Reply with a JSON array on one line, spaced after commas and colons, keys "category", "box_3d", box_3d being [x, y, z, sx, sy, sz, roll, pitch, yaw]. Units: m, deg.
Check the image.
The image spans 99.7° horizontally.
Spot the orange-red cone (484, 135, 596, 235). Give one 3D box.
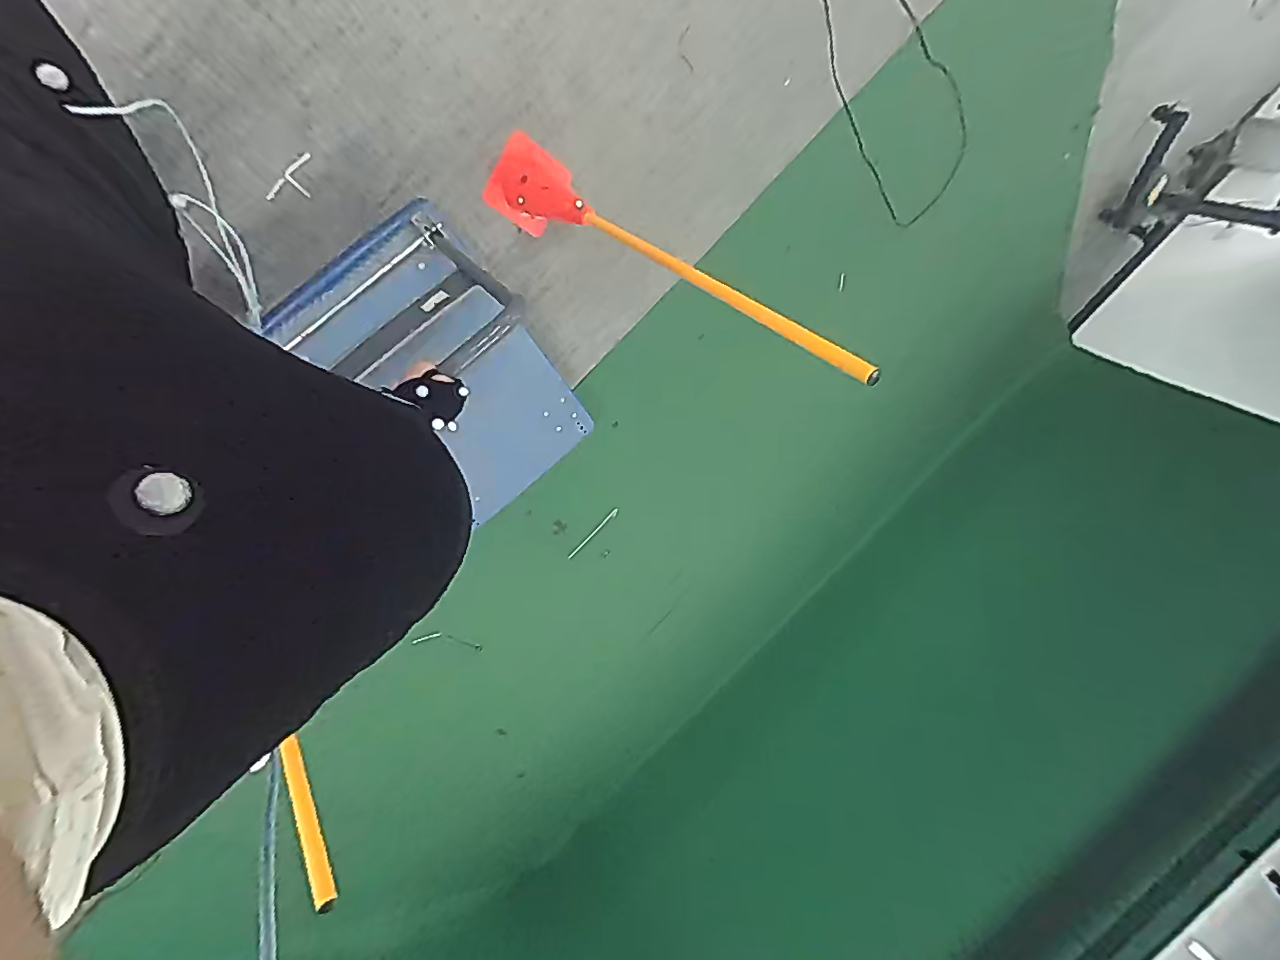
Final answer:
[{"category": "orange-red cone", "box_3d": [-0.217, -0.713, 1.378, 0.198, 0.360, 0.199, 21, 108, -48]}]
